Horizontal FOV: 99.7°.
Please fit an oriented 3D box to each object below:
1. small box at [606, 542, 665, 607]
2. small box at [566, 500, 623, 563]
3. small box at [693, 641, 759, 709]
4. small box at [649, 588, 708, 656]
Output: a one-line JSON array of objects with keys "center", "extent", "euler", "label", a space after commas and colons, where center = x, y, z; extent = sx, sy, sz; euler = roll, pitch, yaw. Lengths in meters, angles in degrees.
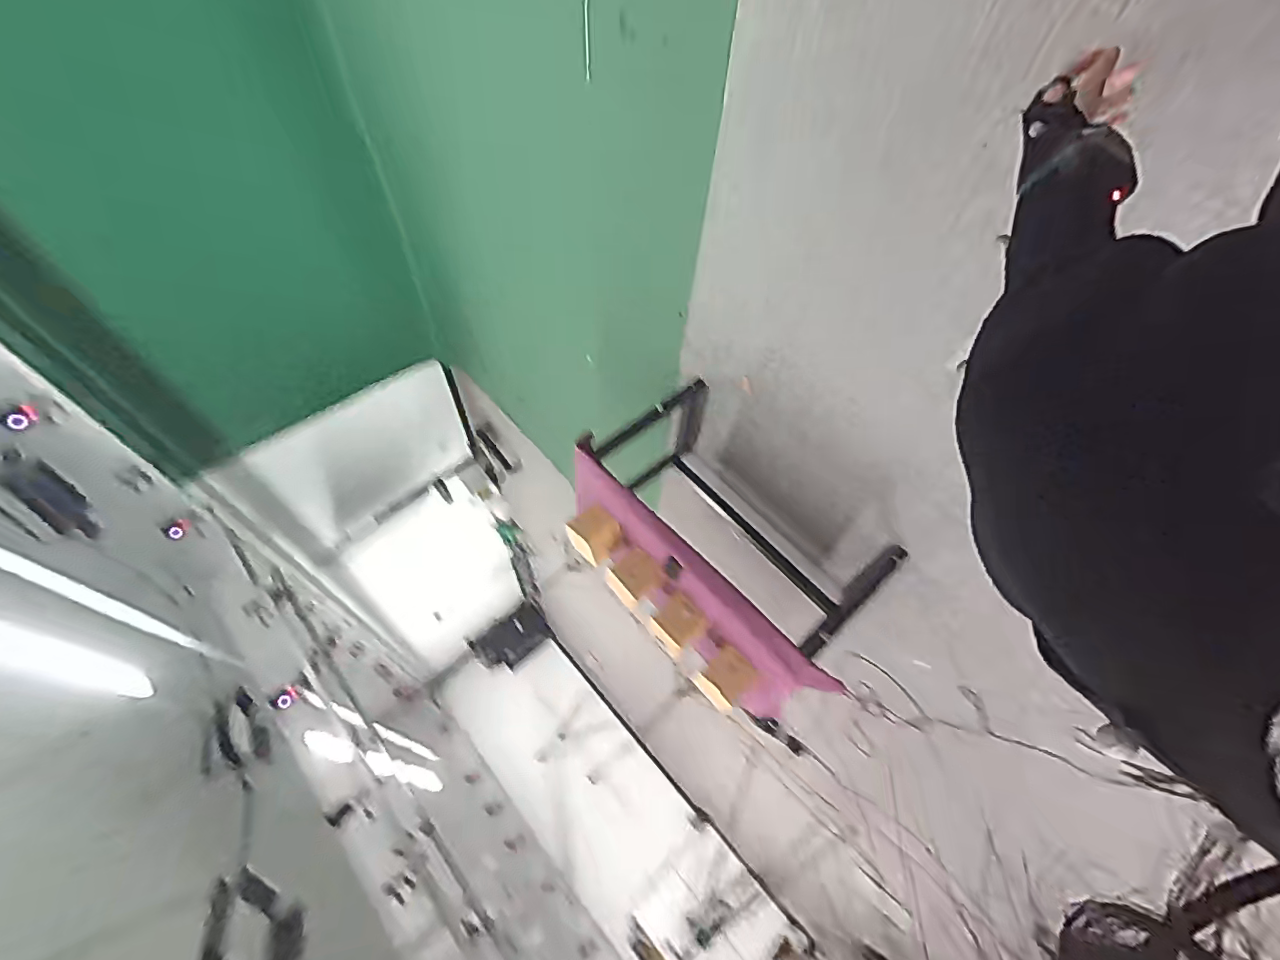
[{"center": [-0.017, 0.393, 2.255], "extent": [0.179, 0.176, 0.168], "euler": [47, 155, 17], "label": "small box"}, {"center": [-0.188, 0.217, 2.336], "extent": [0.179, 0.176, 0.168], "euler": [34, 150, 39], "label": "small box"}, {"center": [0.332, 0.749, 2.082], "extent": [0.168, 0.176, 0.179], "euler": [46, 154, 19], "label": "small box"}, {"center": [0.154, 0.571, 2.175], "extent": [0.168, 0.176, 0.179], "euler": [43, 153, 24], "label": "small box"}]
